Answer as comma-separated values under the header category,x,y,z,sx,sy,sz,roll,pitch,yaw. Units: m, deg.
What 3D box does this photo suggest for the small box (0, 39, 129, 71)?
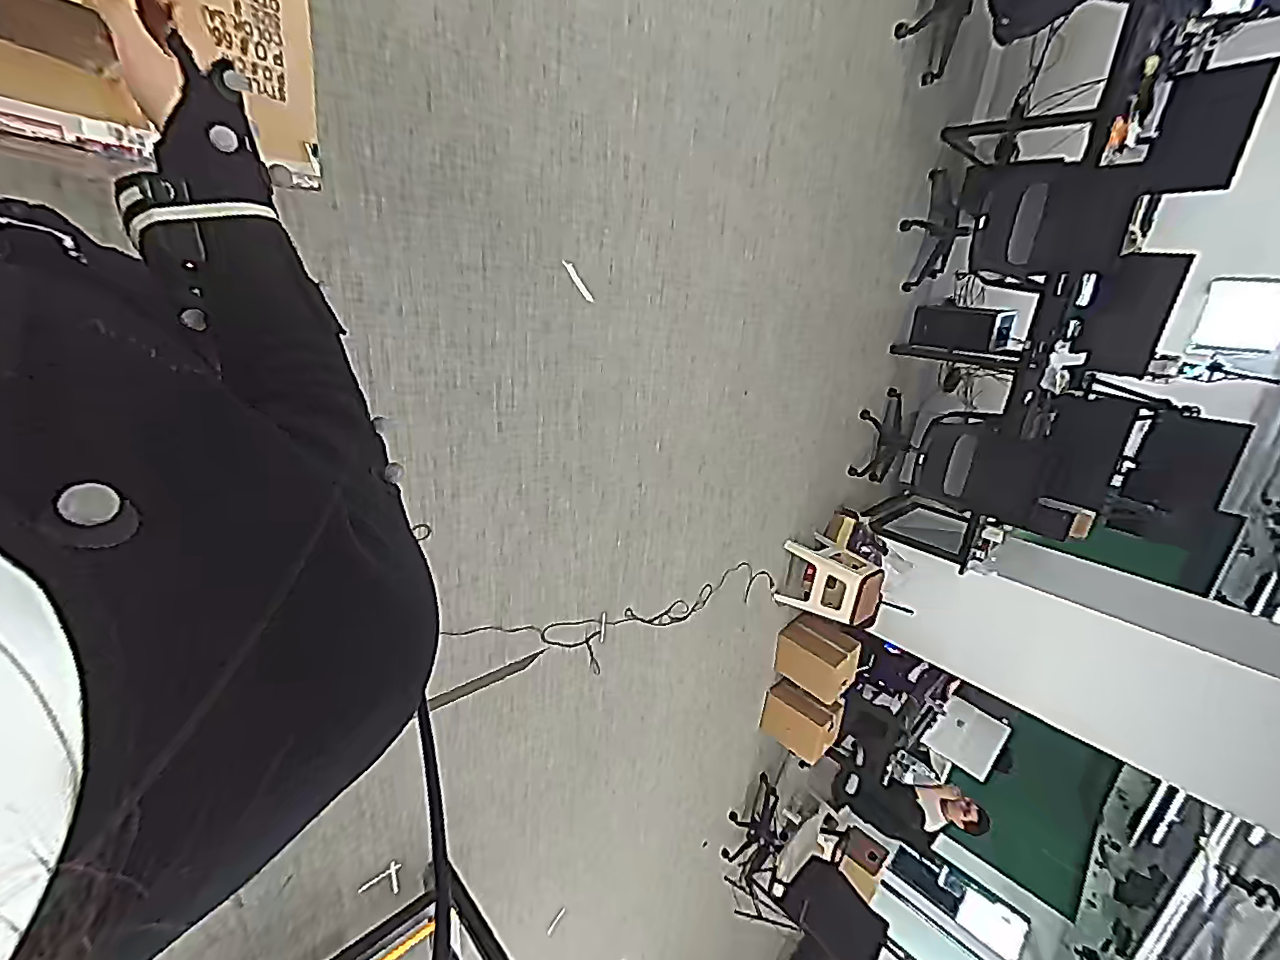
category,x,y,z,sx,sy,sz,roll,pitch,yaw
small box,-0.557,-0.472,0.448,0.179,0.176,0.168,-10,117,-45

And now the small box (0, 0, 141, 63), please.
category,x,y,z,sx,sy,sz,roll,pitch,yaw
small box,-0.444,-0.402,0.339,0.179,0.176,0.168,-4,108,-47
